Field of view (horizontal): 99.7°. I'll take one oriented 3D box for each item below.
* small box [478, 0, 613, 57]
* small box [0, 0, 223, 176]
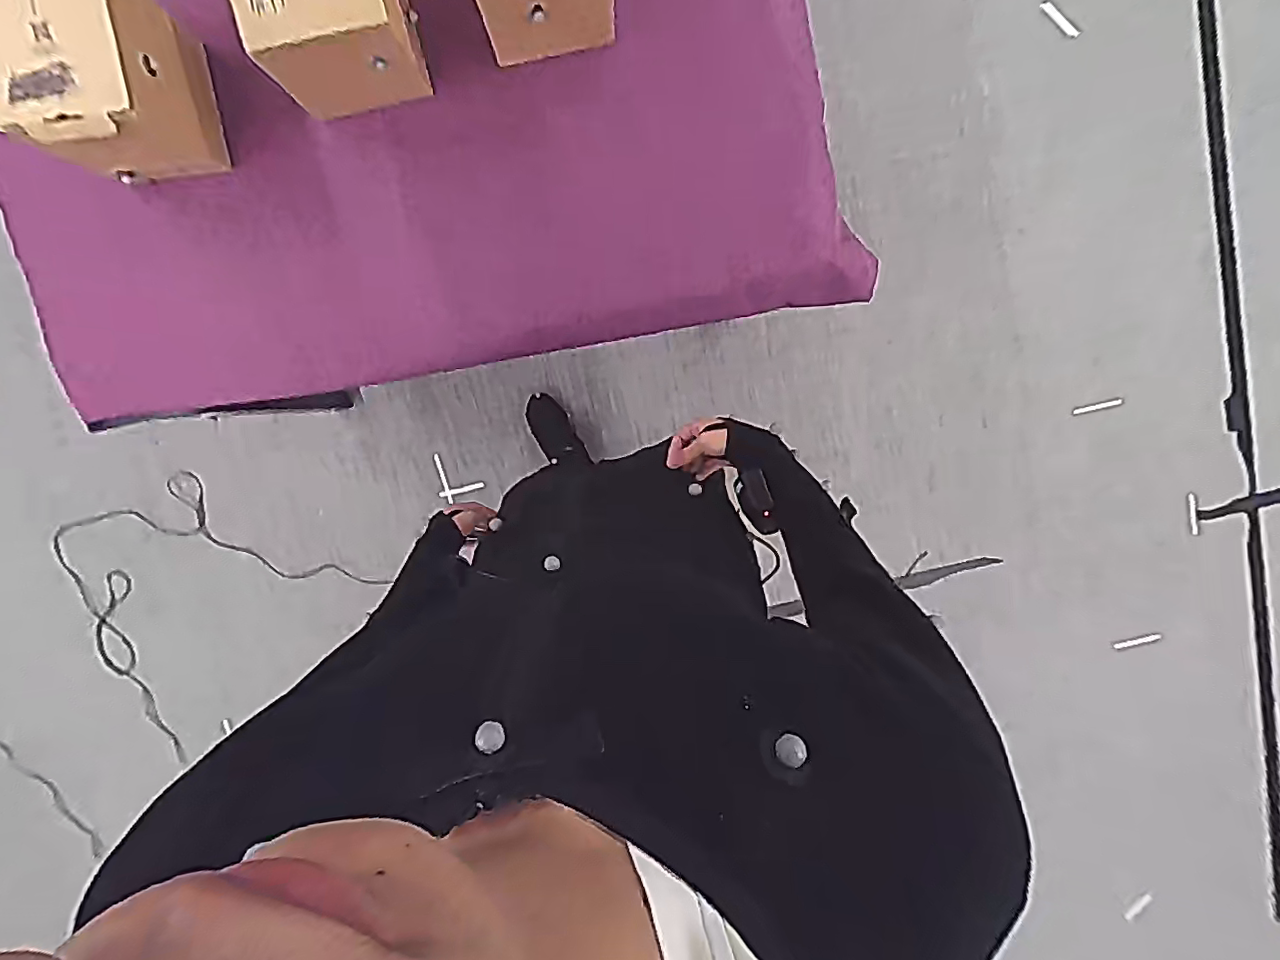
[{"bbox_3d":[-0.136,-0.690,0.694,0.179,0.176,0.168,-13,101,0],"label":"small box"},{"bbox_3d":[-0.689,-0.516,0.698,0.168,0.176,0.179,-8,99,-2],"label":"small box"}]
